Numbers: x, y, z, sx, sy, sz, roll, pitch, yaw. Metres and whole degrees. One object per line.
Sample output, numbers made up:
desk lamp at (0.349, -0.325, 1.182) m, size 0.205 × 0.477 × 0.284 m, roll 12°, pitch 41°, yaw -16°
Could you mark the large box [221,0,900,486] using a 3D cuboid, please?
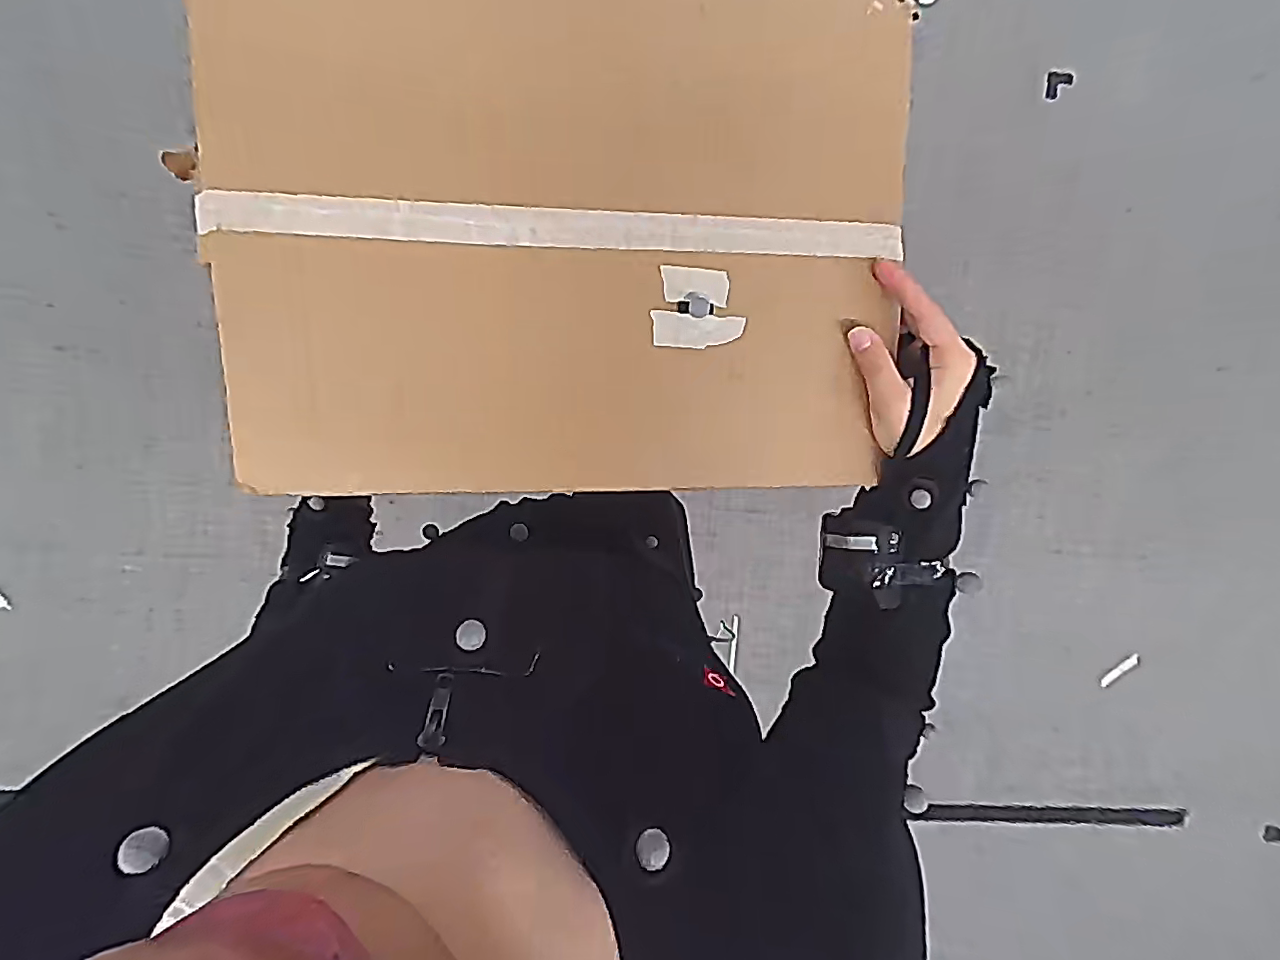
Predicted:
large box at (-0.052, -0.174, 0.478) m, size 0.408 × 0.320 × 0.320 m, roll -1°, pitch 98°, yaw -9°
